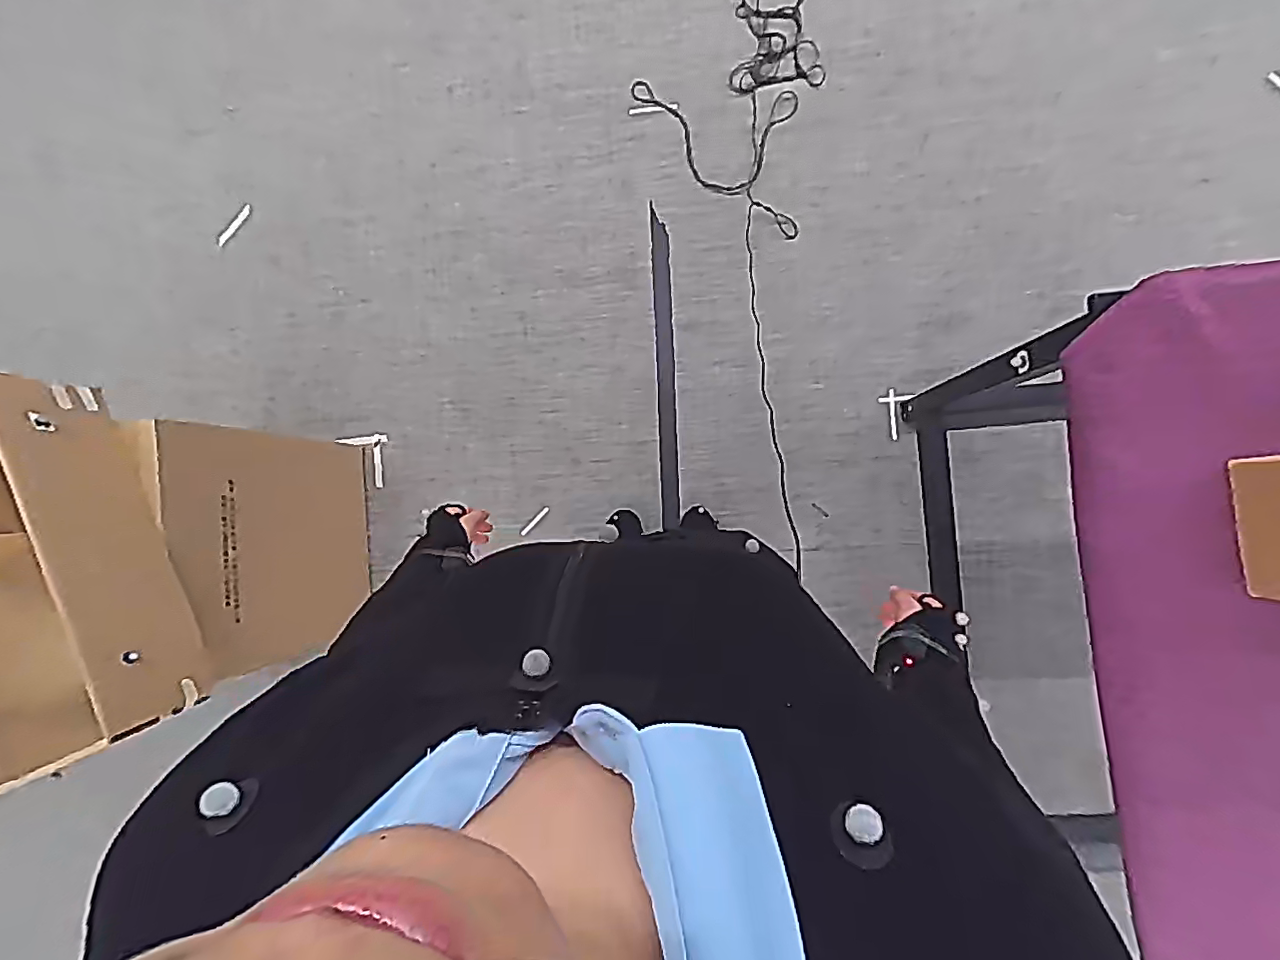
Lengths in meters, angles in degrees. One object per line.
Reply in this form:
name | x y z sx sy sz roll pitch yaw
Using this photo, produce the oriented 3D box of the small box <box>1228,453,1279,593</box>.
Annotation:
small box | 0.835 0.047 0.611 0.168 0.176 0.179 -7 88 5
